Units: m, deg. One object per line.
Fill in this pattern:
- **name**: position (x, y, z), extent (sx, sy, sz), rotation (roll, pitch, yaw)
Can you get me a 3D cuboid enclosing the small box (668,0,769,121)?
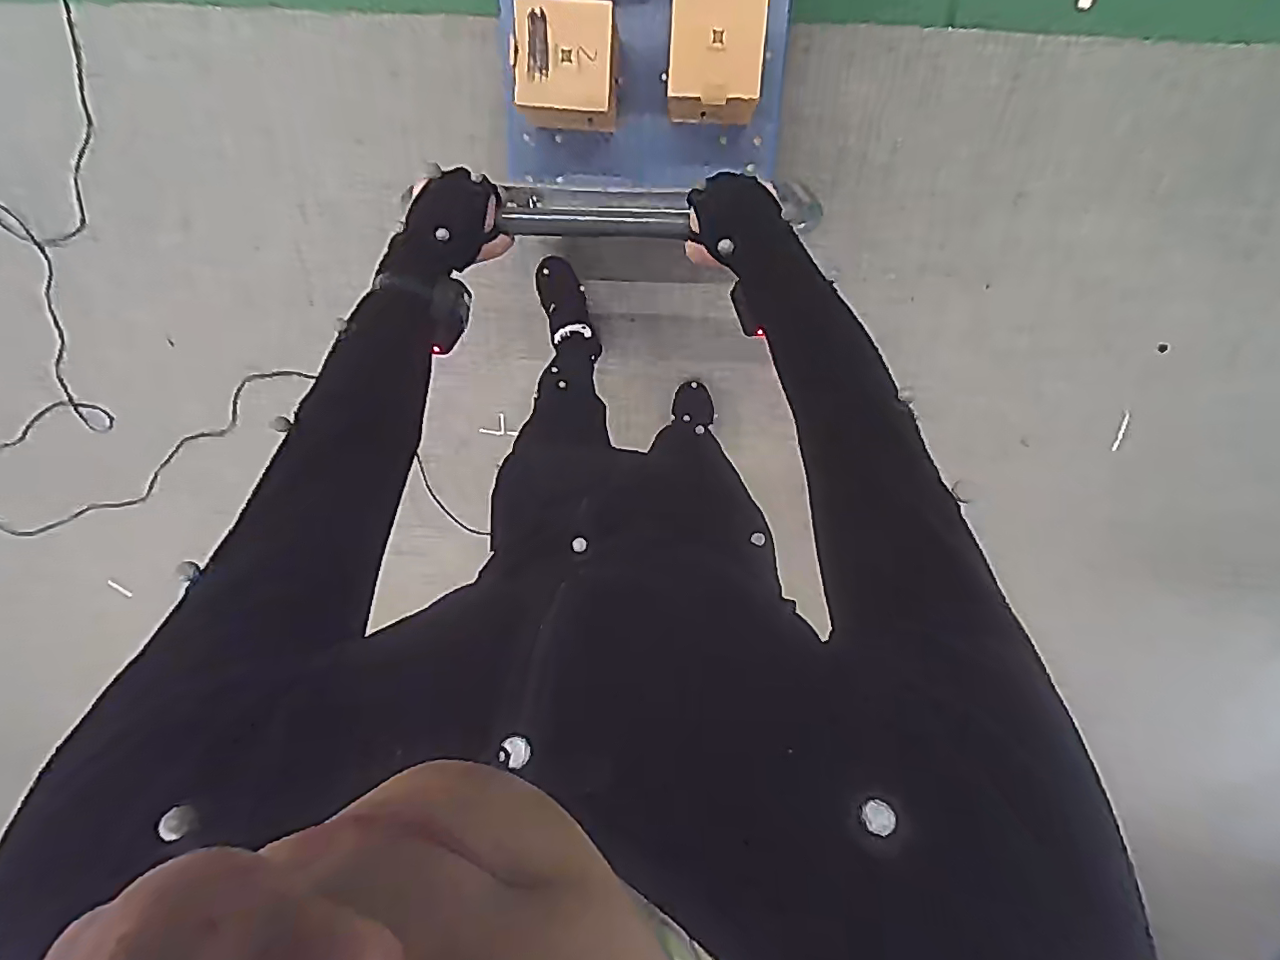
- **small box**: position (0.139, -0.800, 1.017), extent (0.168, 0.176, 0.179), rotation (3, 113, 2)
